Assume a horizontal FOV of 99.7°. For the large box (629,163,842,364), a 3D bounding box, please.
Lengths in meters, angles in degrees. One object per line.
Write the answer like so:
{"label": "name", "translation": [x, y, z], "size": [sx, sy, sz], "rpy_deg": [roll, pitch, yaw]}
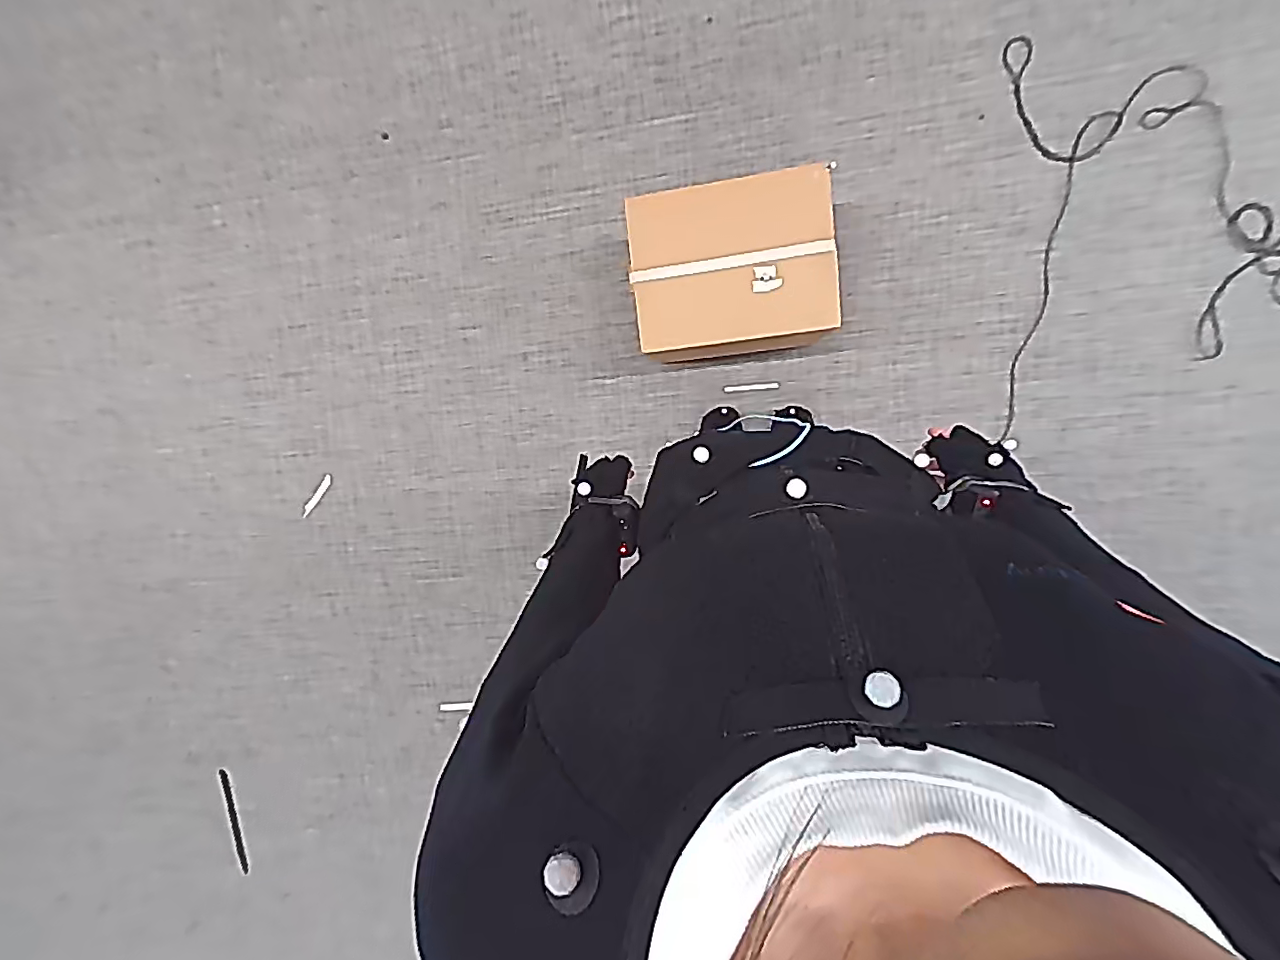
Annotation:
{"label": "large box", "translation": [0.210, -0.459, 1.235], "size": [0.408, 0.320, 0.320], "rpy_deg": [-6, 97, 9]}

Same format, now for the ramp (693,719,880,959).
{"label": "ramp", "translation": [0.398, 1.176, 1.492], "size": [0.509, 0.206, 0.991], "rpy_deg": [-3, 97, 11]}
